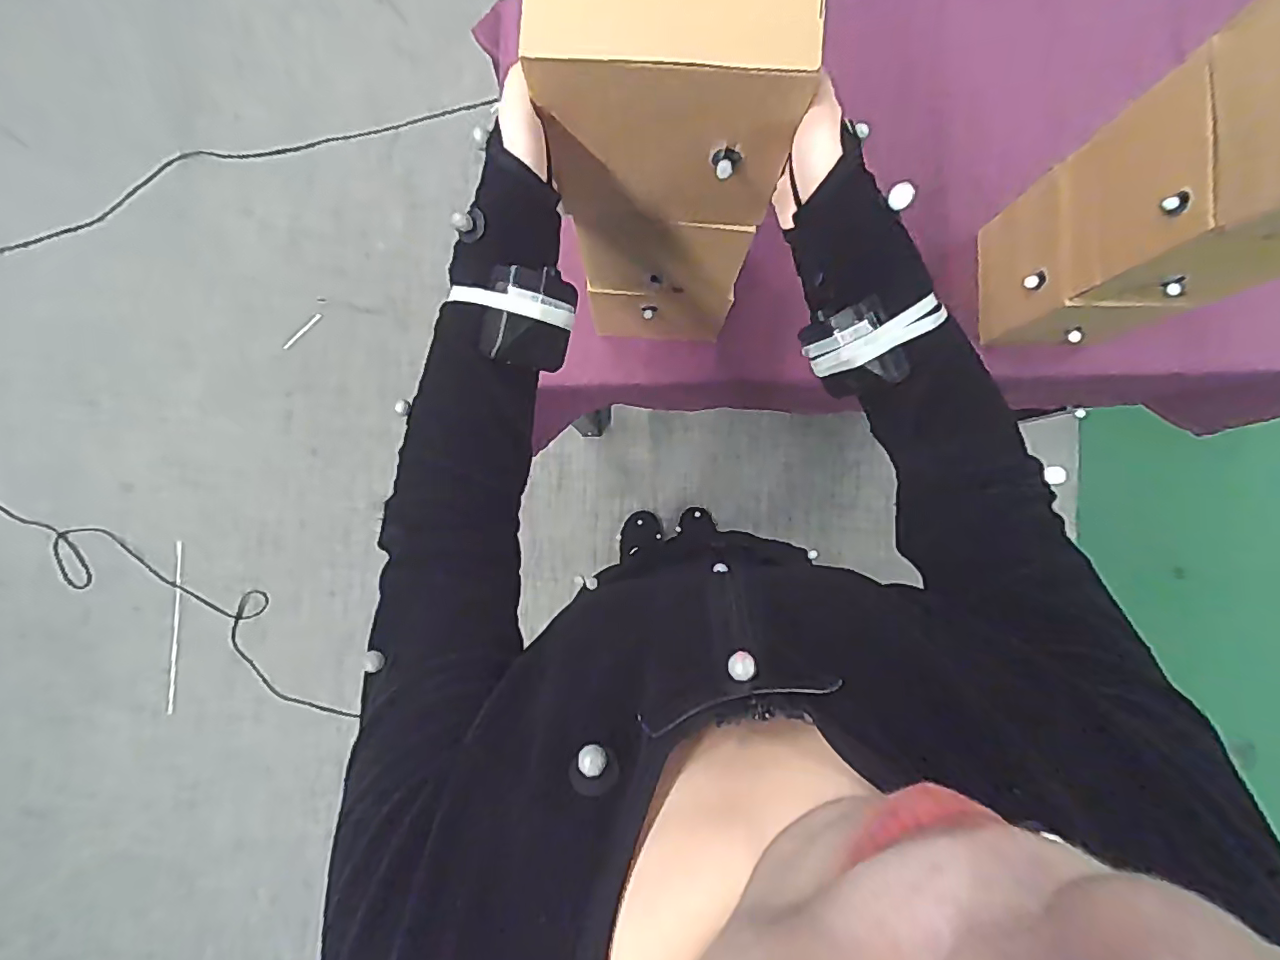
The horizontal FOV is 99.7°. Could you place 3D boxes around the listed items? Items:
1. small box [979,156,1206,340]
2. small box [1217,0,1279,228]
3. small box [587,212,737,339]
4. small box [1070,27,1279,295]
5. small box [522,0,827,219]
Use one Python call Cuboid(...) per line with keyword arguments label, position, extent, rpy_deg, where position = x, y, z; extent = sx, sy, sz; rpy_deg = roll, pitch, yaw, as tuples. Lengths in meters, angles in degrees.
Cuboid(label="small box", position=(0.576, -0.290, 0.710), extent=(0.168, 0.176, 0.179), rpy_deg=(0, 87, 1))
Cuboid(label="small box", position=(0.575, -0.308, 0.383), extent=(0.168, 0.176, 0.179), rpy_deg=(-3, 88, 2))
Cuboid(label="small box", position=(0.029, -0.295, 0.722), extent=(0.179, 0.176, 0.168), rpy_deg=(3, 88, 0))
Cuboid(label="small box", position=(0.579, -0.304, 0.548), extent=(0.168, 0.176, 0.179), rpy_deg=(0, 89, 1))
Cuboid(label="small box", position=(0.023, -0.311, 0.392), extent=(0.179, 0.176, 0.168), rpy_deg=(3, 87, 1))
